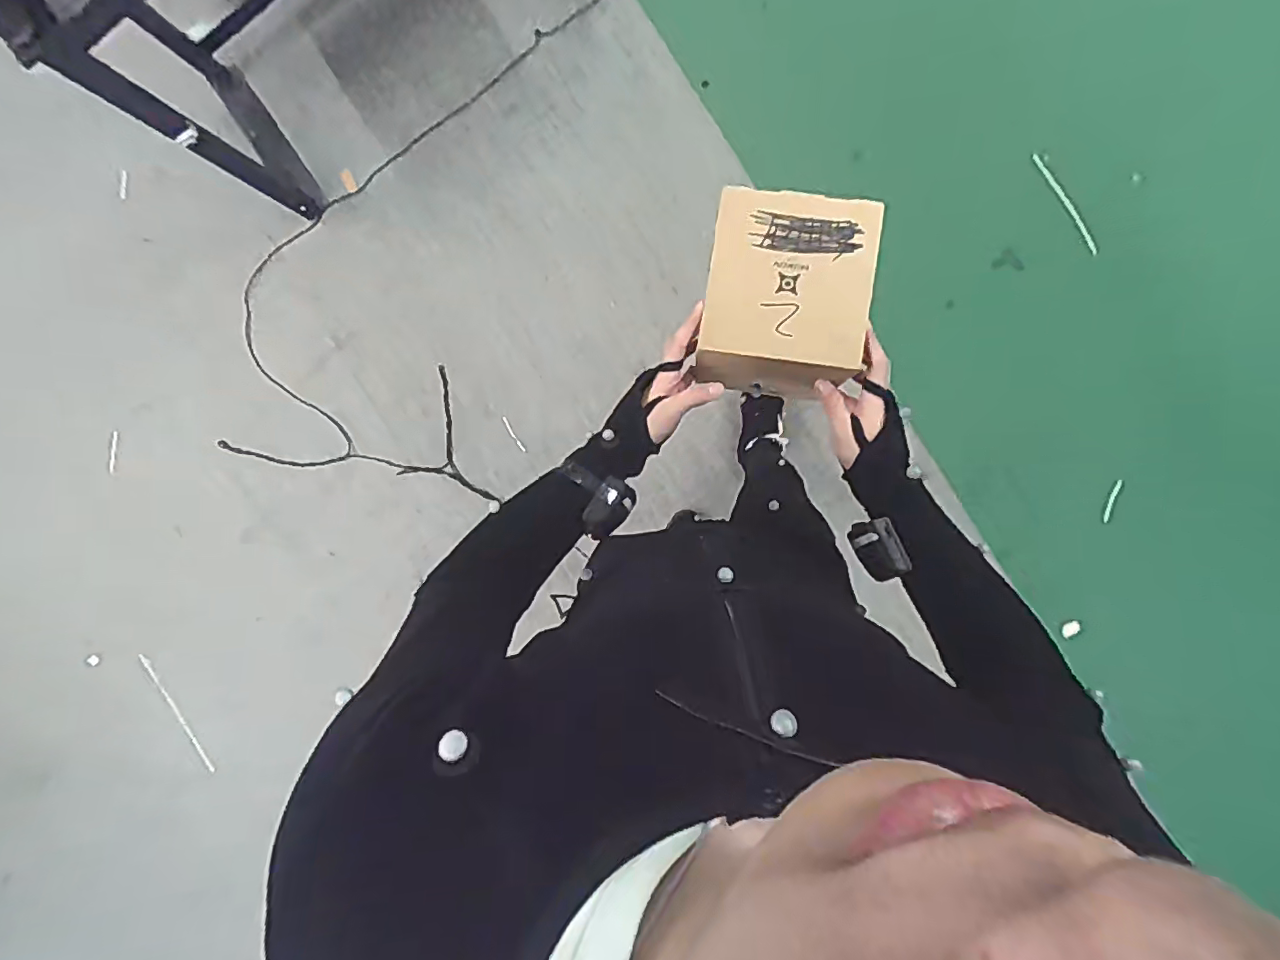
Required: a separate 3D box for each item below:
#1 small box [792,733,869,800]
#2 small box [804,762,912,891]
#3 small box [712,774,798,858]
[{"bbox_3d":[0.537,0.830,1.484,0.168,0.176,0.179,-32,89,8],"label":"small box"},{"bbox_3d":[0.523,0.838,1.320,0.168,0.176,0.179,-27,90,6],"label":"small box"},{"bbox_3d":[0.313,0.963,1.517,0.168,0.176,0.179,-31,89,6],"label":"small box"}]
